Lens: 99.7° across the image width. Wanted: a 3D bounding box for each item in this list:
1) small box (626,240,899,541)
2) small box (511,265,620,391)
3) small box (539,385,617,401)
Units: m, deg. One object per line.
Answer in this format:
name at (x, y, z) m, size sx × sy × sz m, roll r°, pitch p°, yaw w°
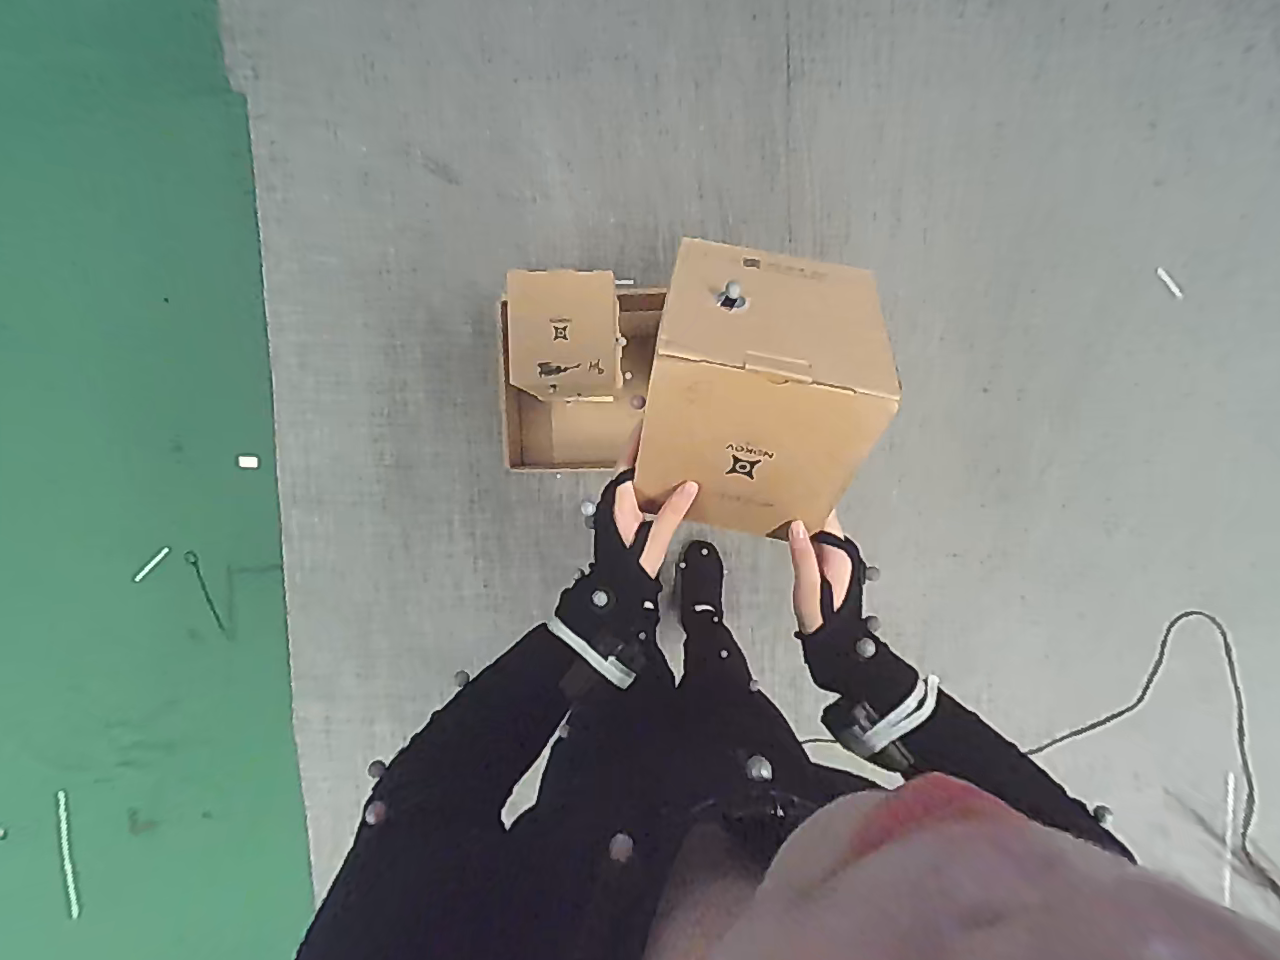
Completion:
small box at (0.090, -0.076, 0.463) m, size 0.168 × 0.179 × 0.176 m, roll 12°, pitch 51°, yaw 1°
small box at (-0.121, -0.250, 0.919) m, size 0.168 × 0.176 × 0.179 m, roll 0°, pitch 94°, yaw -1°
small box at (-0.137, -0.274, 1.247) m, size 0.168 × 0.176 × 0.179 m, roll 2°, pitch 95°, yaw -1°
